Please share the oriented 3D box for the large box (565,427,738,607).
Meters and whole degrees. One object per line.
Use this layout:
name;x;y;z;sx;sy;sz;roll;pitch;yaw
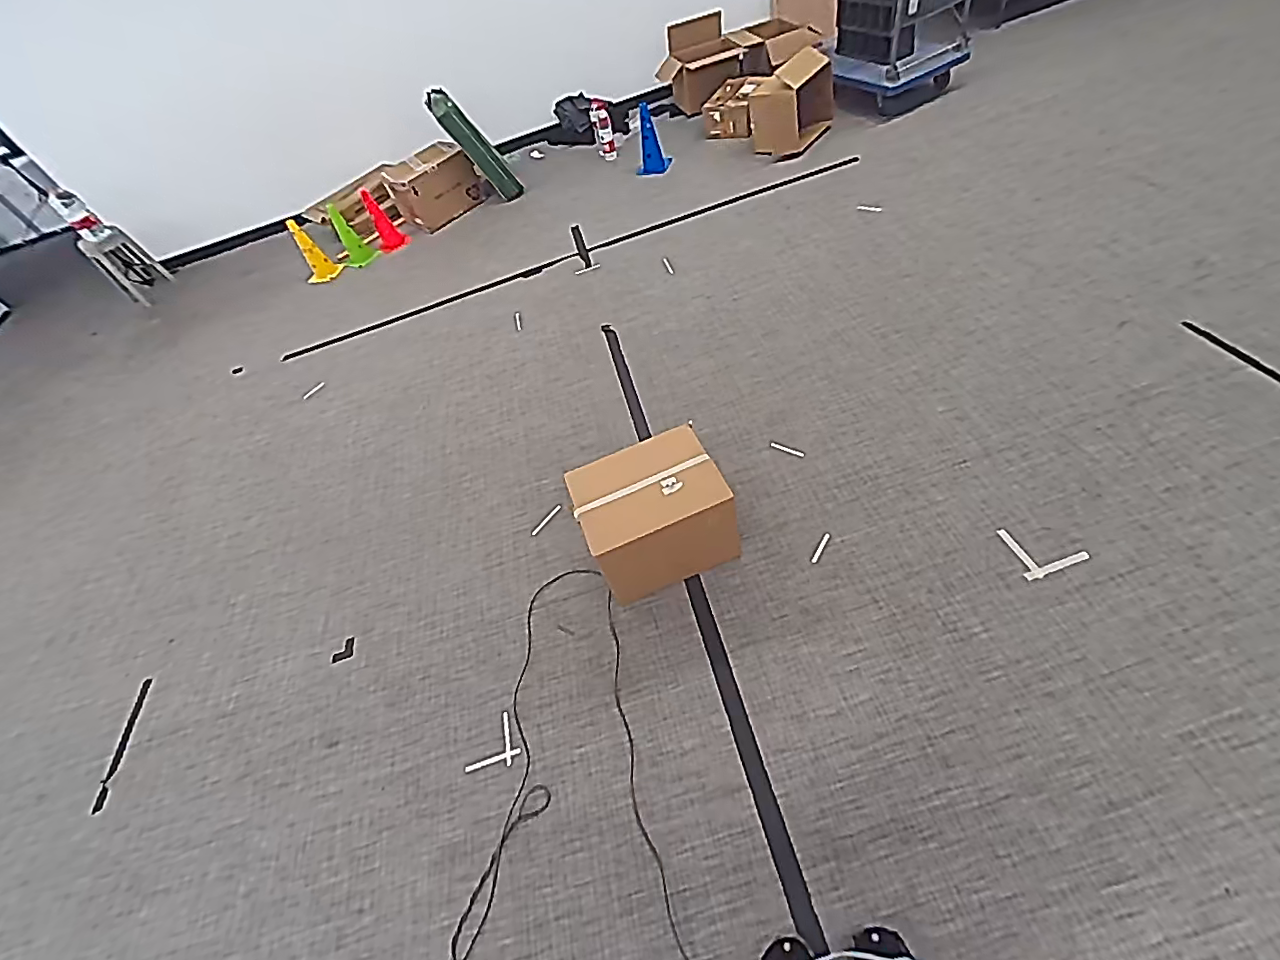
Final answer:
large box;0.038;0.114;1.610;0.408;0.320;0.320;-23;51;-4
